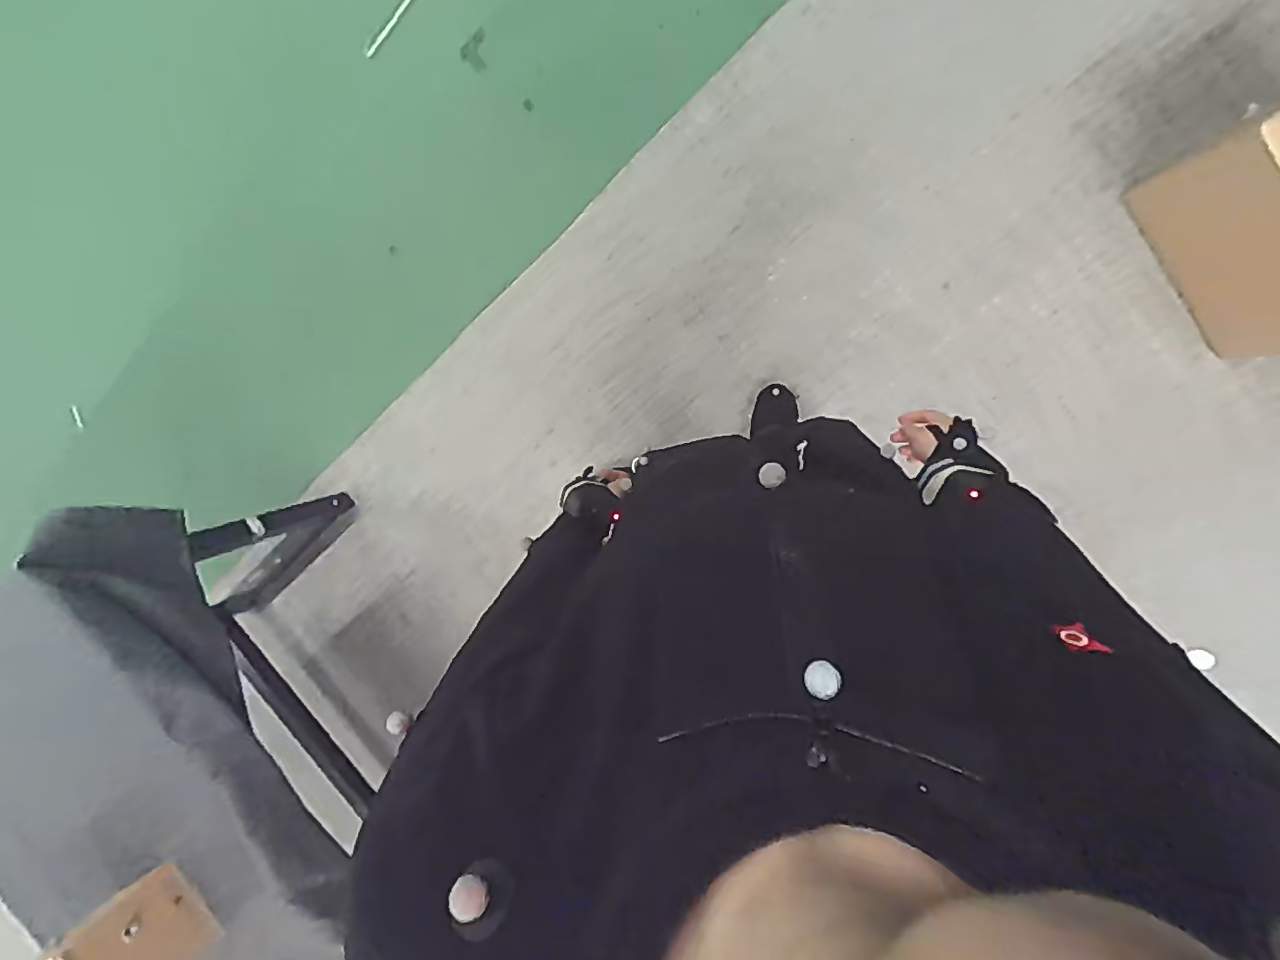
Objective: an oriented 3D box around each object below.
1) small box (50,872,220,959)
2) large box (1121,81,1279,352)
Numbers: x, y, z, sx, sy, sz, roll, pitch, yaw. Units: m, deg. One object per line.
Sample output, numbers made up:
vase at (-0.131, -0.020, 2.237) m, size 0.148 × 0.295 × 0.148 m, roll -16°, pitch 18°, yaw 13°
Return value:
small box at (-0.823, 0.778, 0.859) m, size 0.179 × 0.176 × 0.168 m, roll -36°, pitch 90°, yaw 16°
large box at (1.169, -0.475, 0.916) m, size 0.320 × 0.320 × 0.408 m, roll -34°, pitch 93°, yaw 16°
